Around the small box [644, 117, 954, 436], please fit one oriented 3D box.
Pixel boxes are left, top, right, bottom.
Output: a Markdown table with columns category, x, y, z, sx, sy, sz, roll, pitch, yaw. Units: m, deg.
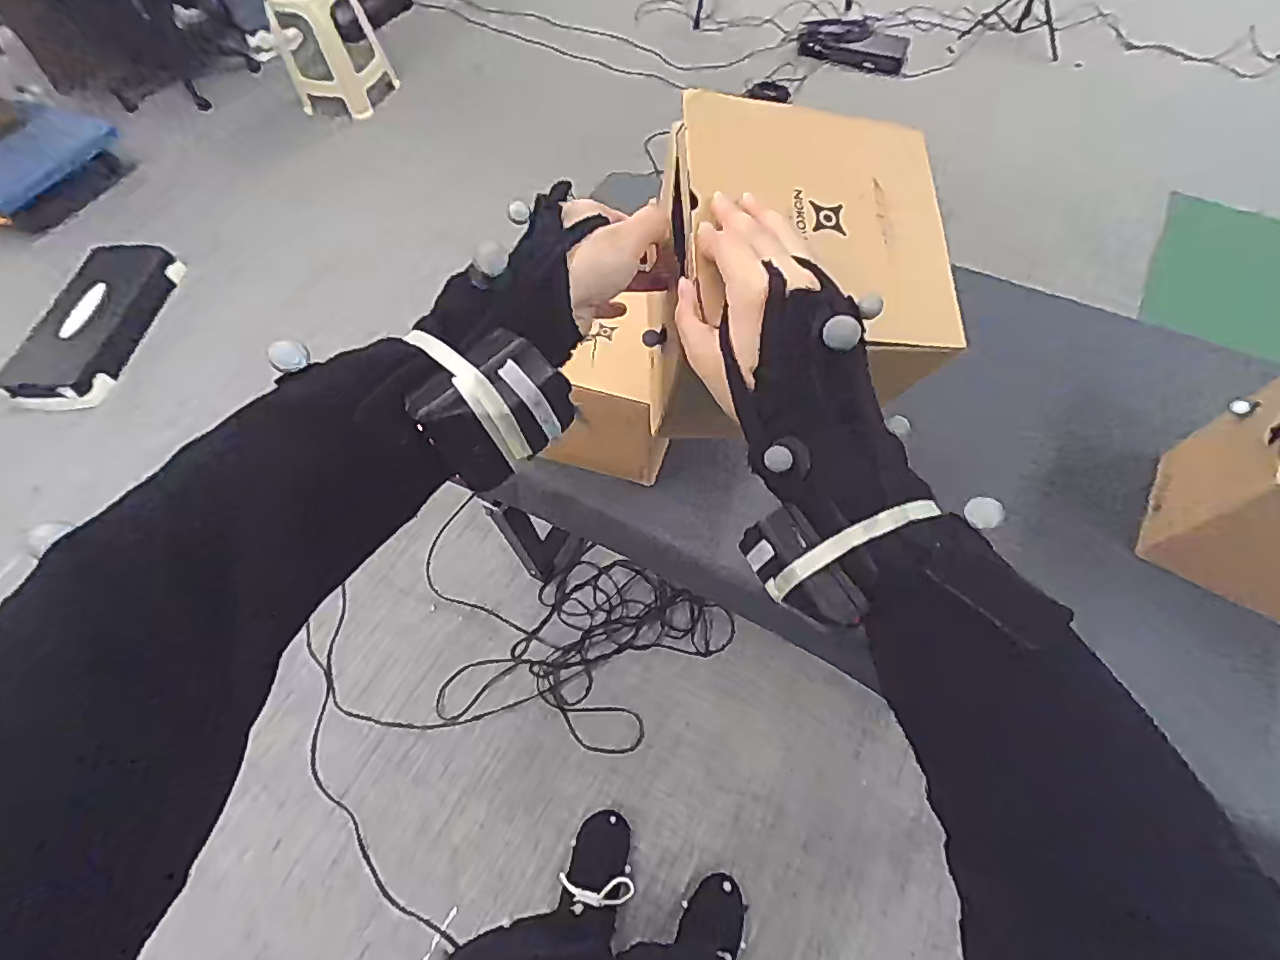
| category | x | y | z | sx | sy | sz | roll | pitch | yaw |
| --- | --- | --- | --- | --- | --- | --- | --- | --- | --- |
| small box | 0.095 | -0.137 | 0.417 | 0.179 | 0.176 | 0.168 | 0 | 75 | -7 |

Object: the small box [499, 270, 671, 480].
| category | x | y | z | sx | sy | sz | roll | pitch | yaw |
| --- | --- | --- | --- | --- | --- | --- | --- | --- | --- |
| small box | -0.040 | -0.120 | 0.658 | 0.179 | 0.176 | 0.168 | 15 | 61 | 11 |
